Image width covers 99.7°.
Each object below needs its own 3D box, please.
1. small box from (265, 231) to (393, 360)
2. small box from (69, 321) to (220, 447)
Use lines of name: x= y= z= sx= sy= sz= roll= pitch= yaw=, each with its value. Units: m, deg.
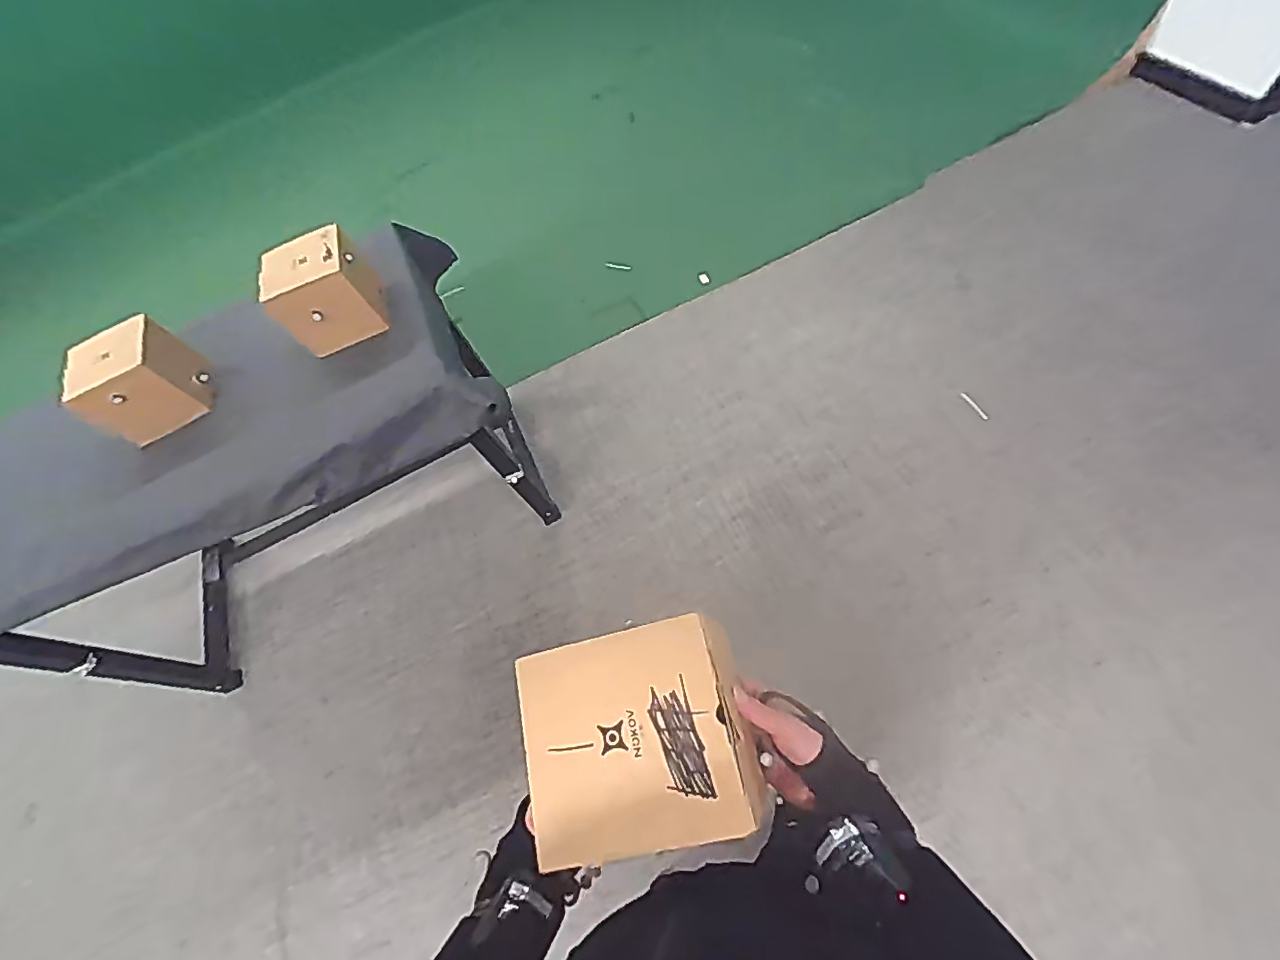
small box: x=-0.668 y=-0.392 z=1.173 sx=0.179 sy=0.176 sz=0.168 roll=-22 pitch=60 yaw=2
small box: x=-1.060 y=-0.201 z=1.172 sx=0.179 sy=0.176 sz=0.168 roll=-27 pitch=61 yaw=-3
